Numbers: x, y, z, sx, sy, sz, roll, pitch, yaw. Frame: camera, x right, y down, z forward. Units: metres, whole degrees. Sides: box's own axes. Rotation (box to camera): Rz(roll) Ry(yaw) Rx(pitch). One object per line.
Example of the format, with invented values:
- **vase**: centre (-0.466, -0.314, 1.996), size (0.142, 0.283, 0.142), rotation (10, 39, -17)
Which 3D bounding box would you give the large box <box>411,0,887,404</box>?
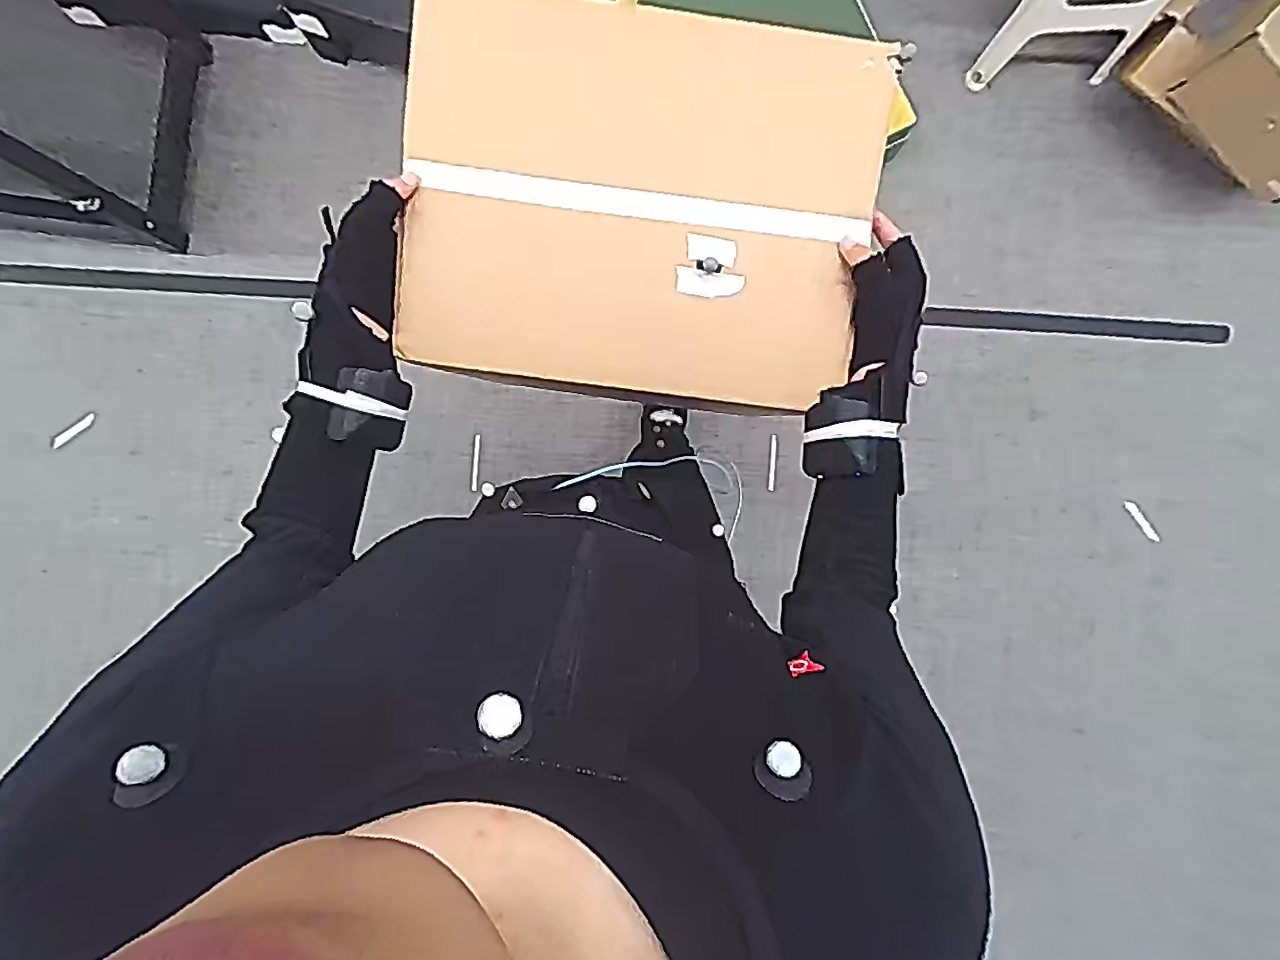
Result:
- **large box**: centre (-0.002, -0.266, 0.629), size (0.408, 0.320, 0.320), rotation (7, 98, -3)
